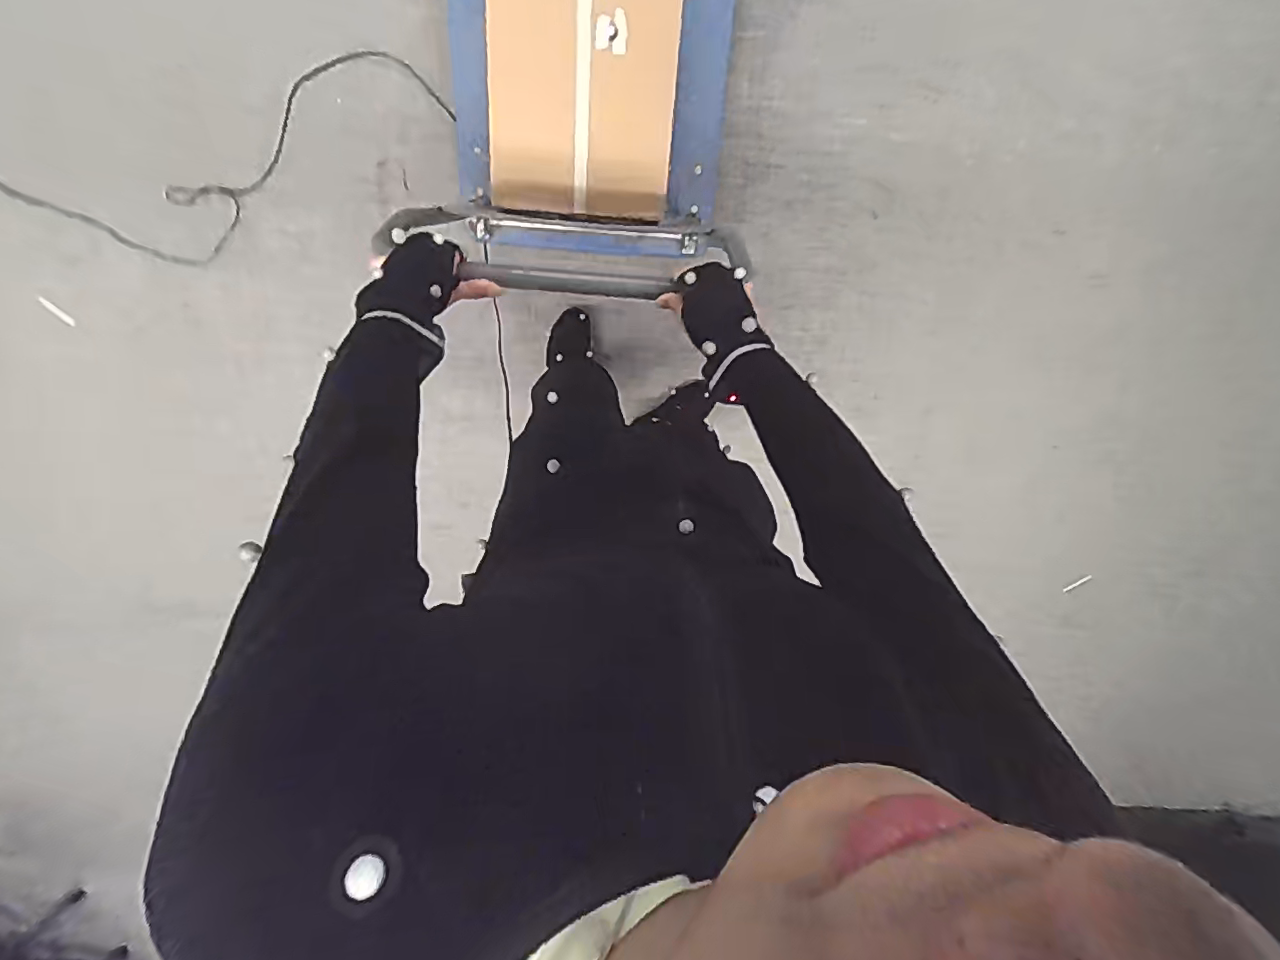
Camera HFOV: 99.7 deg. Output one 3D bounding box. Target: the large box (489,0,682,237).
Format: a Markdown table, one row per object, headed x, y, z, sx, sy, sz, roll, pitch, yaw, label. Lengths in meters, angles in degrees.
| x | y | z | sx | sy | sz | roll | pitch | yaw | label |
| --- | --- | --- | --- | --- | --- | --- | --- | --- | --- |
| -0.097 | -0.701 | 1.048 | 0.320 | 0.320 | 0.408 | 3 | 112 | -3 | large box |
